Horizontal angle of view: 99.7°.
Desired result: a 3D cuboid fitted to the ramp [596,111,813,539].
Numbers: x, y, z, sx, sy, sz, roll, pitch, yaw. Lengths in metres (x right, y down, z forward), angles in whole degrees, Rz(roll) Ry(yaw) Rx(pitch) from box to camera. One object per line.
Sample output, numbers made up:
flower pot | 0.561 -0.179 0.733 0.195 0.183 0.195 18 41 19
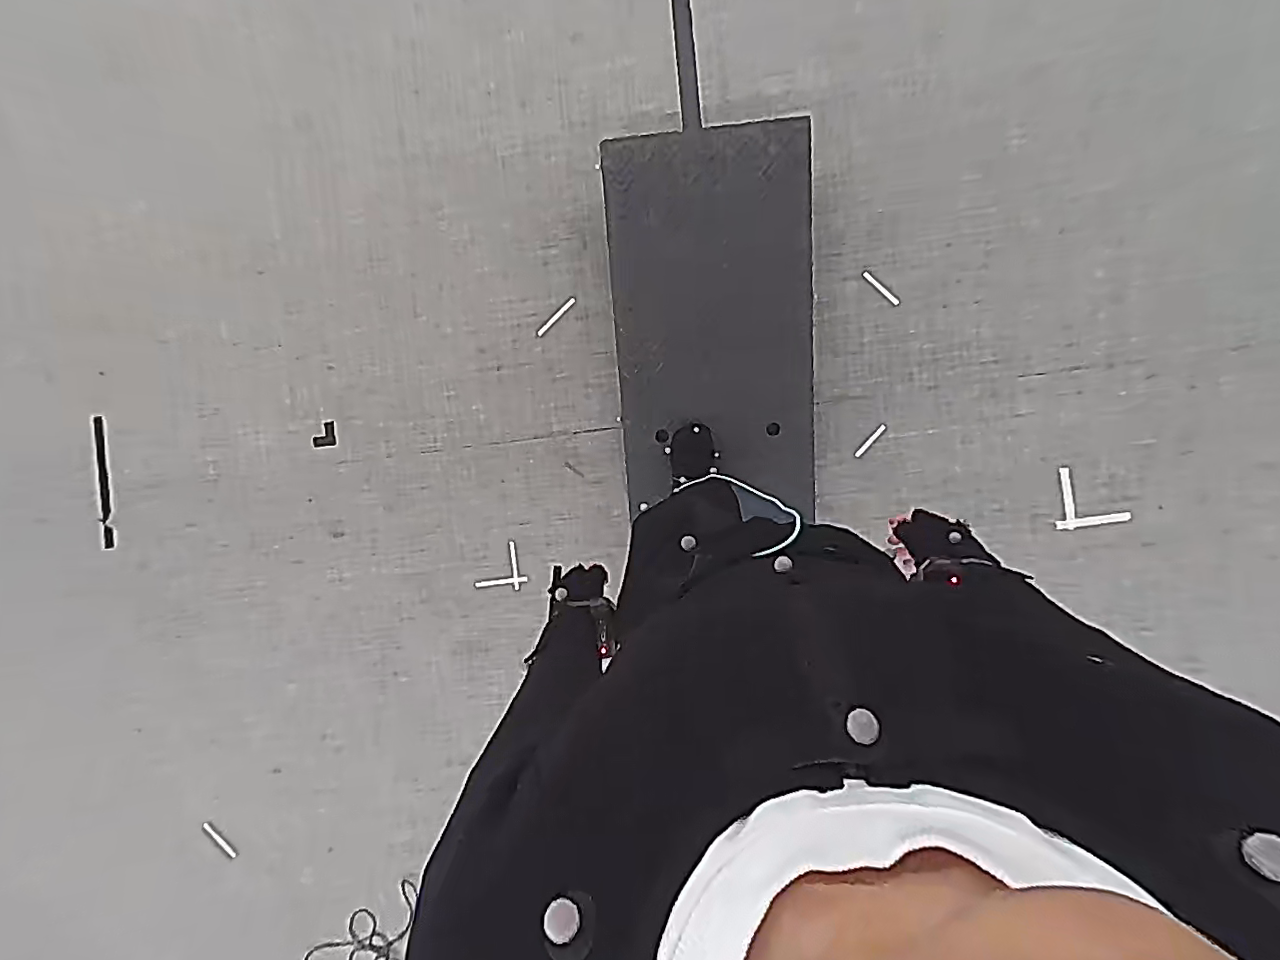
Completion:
ramp | 0.180 -0.338 1.357 0.509 0.206 0.991 -5 92 5
